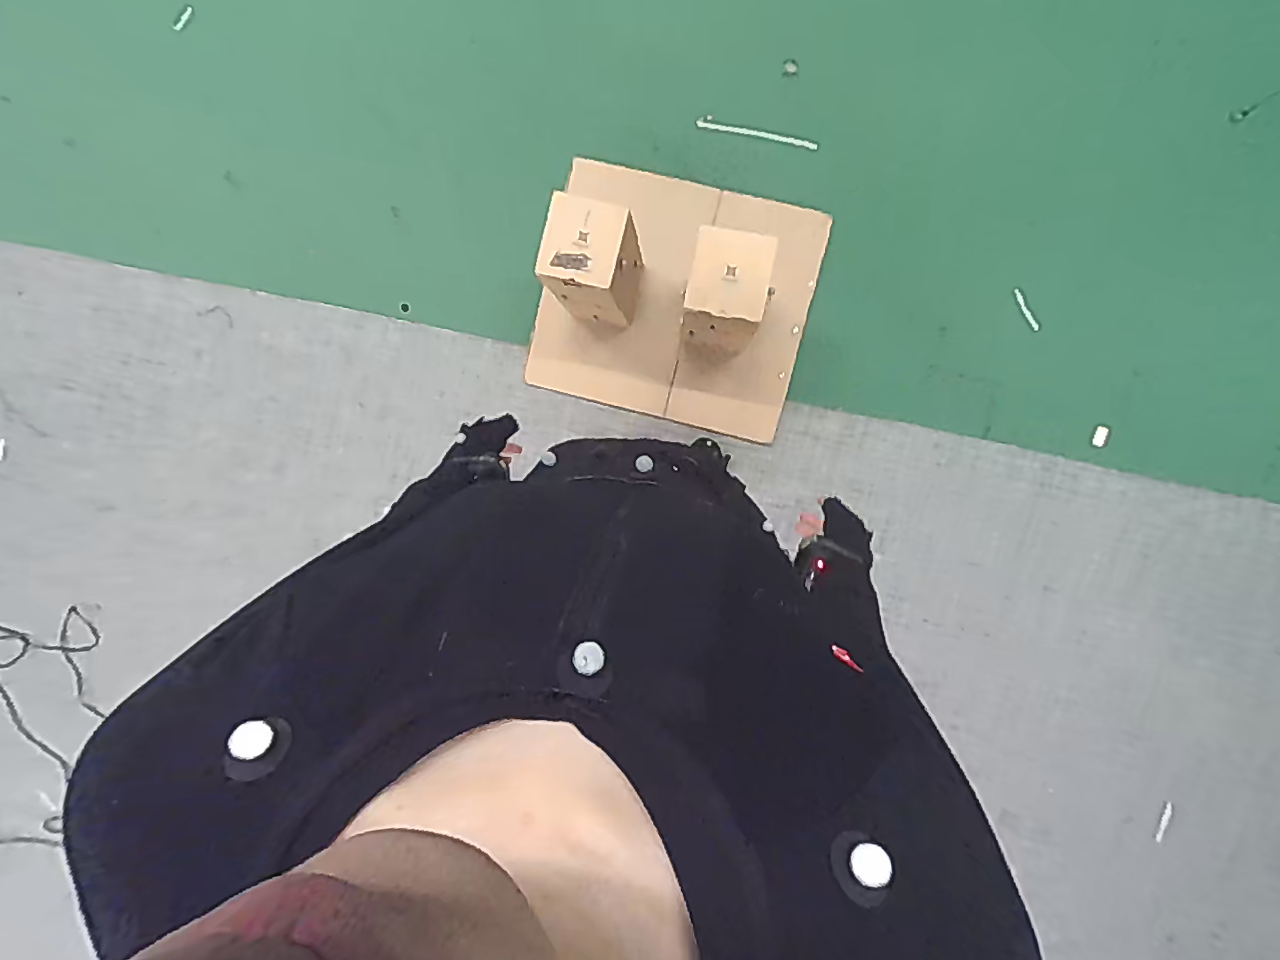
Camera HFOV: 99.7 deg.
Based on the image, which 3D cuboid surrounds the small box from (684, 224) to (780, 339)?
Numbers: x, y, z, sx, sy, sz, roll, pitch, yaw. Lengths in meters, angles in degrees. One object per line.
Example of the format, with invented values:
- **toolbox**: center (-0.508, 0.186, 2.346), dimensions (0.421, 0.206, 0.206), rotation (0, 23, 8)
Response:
- **small box**: center (0.190, -0.420, 1.171), dimensions (0.168, 0.176, 0.179), rotation (11, 94, 4)

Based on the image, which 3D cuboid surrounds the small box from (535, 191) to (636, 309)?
- **small box**: center (-0.111, -0.494, 1.186), dimensions (0.168, 0.176, 0.179), rotation (15, 94, 4)

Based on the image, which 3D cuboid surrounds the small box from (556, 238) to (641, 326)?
- **small box**: center (-0.095, -0.502, 1.350), dimensions (0.168, 0.176, 0.179), rotation (13, 95, 5)
